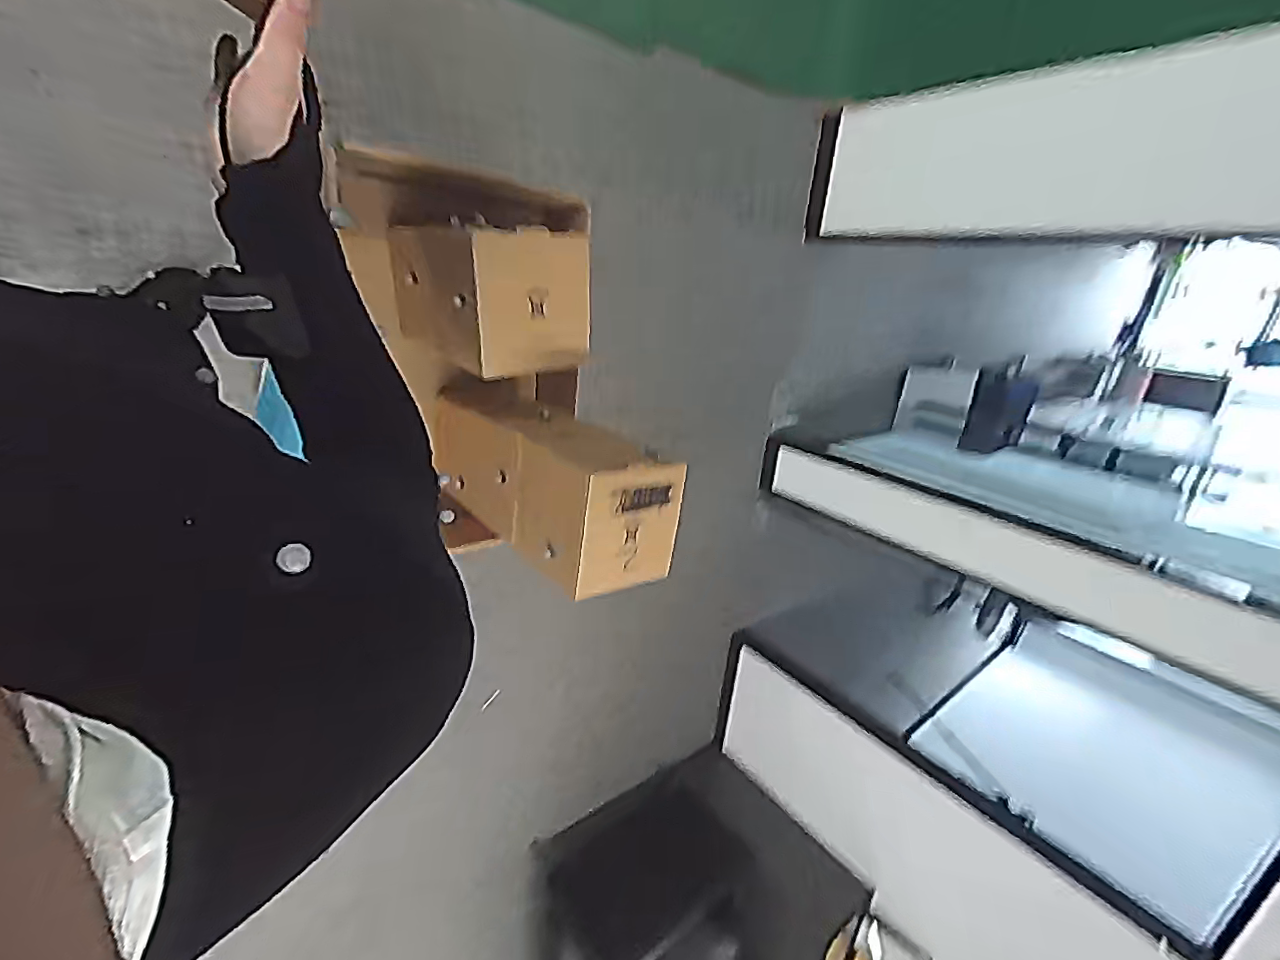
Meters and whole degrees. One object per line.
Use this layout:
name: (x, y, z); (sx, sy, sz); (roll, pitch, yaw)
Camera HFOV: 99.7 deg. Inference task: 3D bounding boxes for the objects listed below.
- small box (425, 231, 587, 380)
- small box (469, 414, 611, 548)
small box: (-0.190, -0.251, 0.763); (0.168, 0.176, 0.179); (-16, 121, -37)
small box: (-0.170, -0.009, 0.891); (0.168, 0.176, 0.179); (-6, 112, -40)
